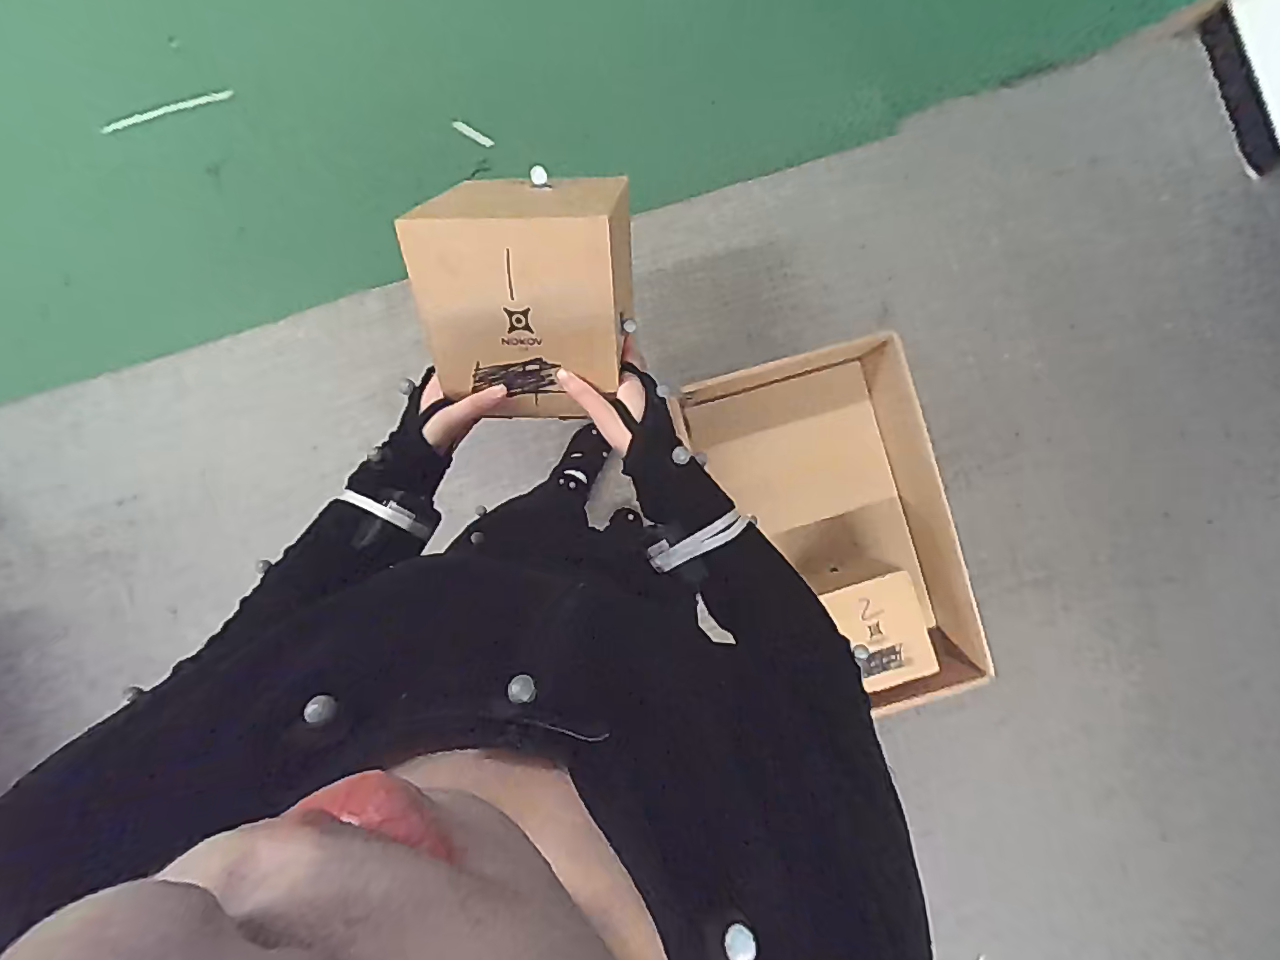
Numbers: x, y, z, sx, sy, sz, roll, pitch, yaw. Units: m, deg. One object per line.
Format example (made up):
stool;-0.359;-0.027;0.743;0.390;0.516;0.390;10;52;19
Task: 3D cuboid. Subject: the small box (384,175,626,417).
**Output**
small box;-0.105;-0.177;0.517;0.168;0.176;0.179;0;127;4
